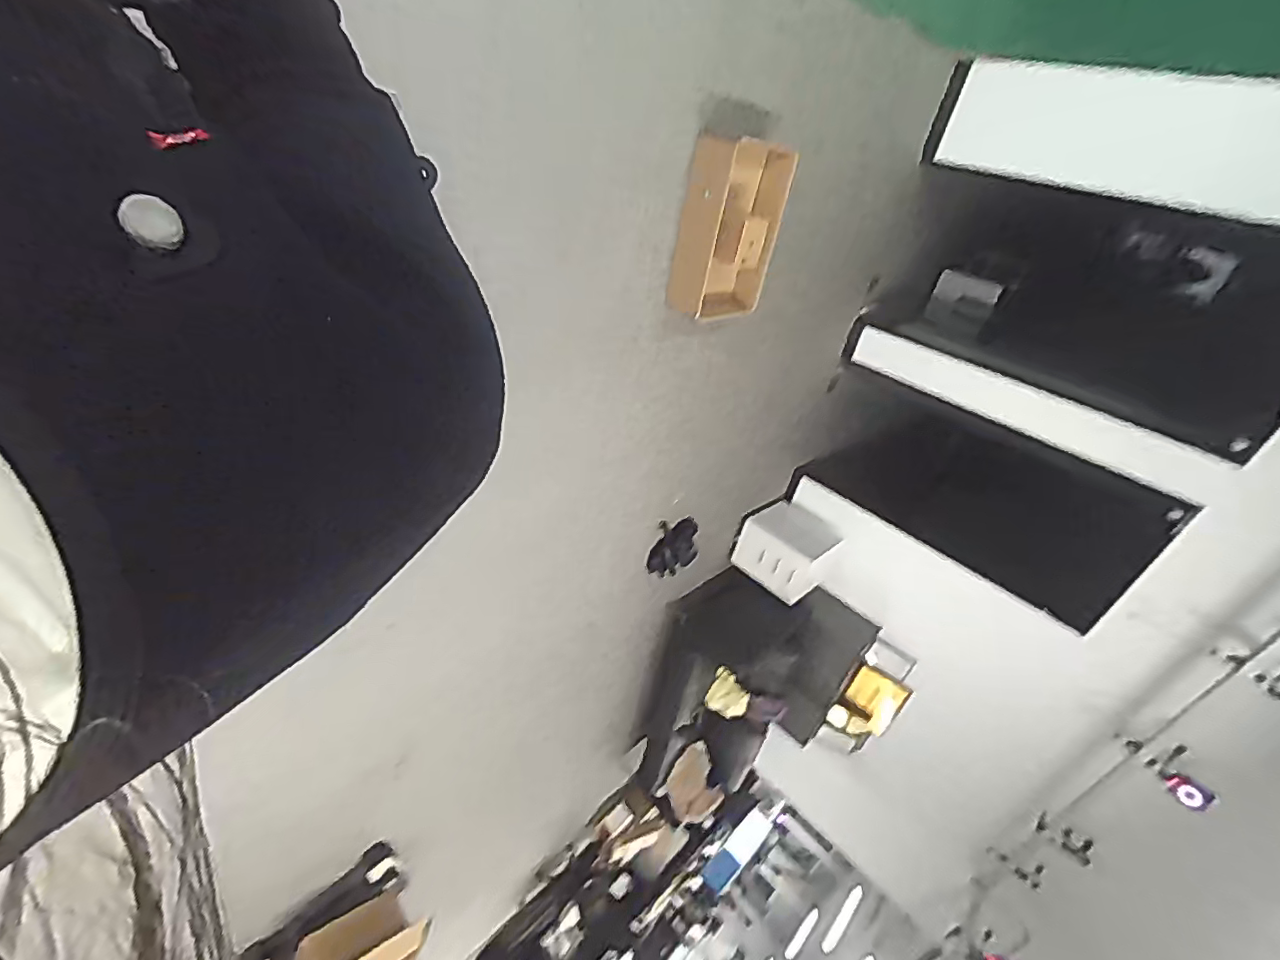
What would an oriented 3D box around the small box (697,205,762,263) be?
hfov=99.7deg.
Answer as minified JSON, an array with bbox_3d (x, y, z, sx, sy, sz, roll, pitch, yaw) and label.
[{"bbox_3d":[0.339,-0.953,2.086,0.168,0.176,0.179,-26,138,-41],"label":"small box"}]
